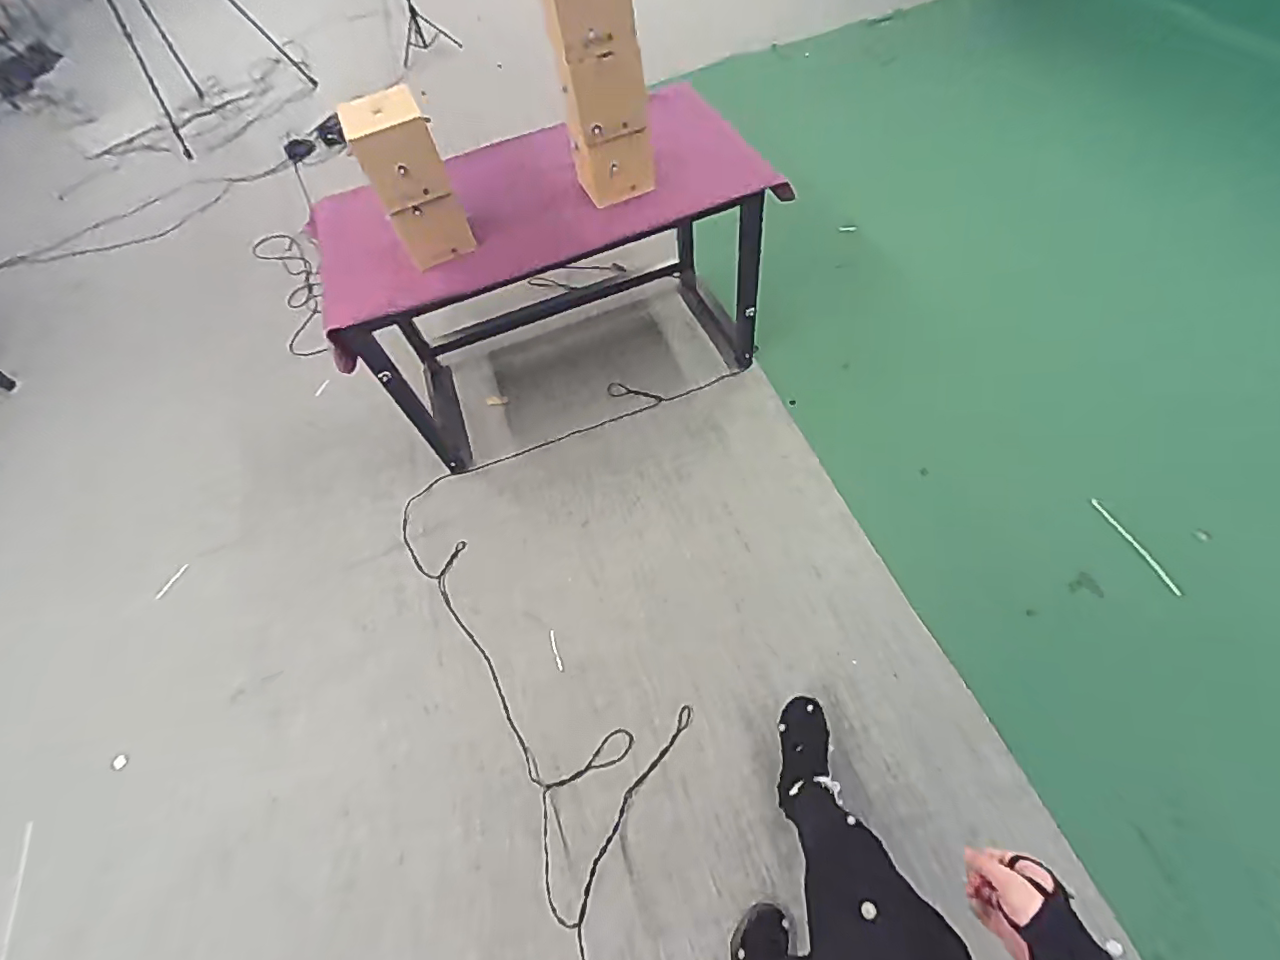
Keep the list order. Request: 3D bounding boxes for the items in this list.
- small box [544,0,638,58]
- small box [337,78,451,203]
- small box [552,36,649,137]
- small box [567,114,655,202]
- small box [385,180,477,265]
[{"bbox_3d":[-0.113,-1.023,1.128,0.168,0.176,0.179,-20,57,-3],"label":"small box"},{"bbox_3d":[-0.547,-0.752,1.215,0.168,0.176,0.179,-24,59,-8],"label":"small box"},{"bbox_3d":[-0.087,-0.934,1.262,0.168,0.176,0.179,-20,56,-4],"label":"small box"},{"bbox_3d":[-0.070,-0.853,1.405,0.168,0.176,0.179,-22,57,-5],"label":"small box"},{"bbox_3d":[-0.535,-0.680,1.364,0.168,0.176,0.179,-25,59,-7],"label":"small box"}]
